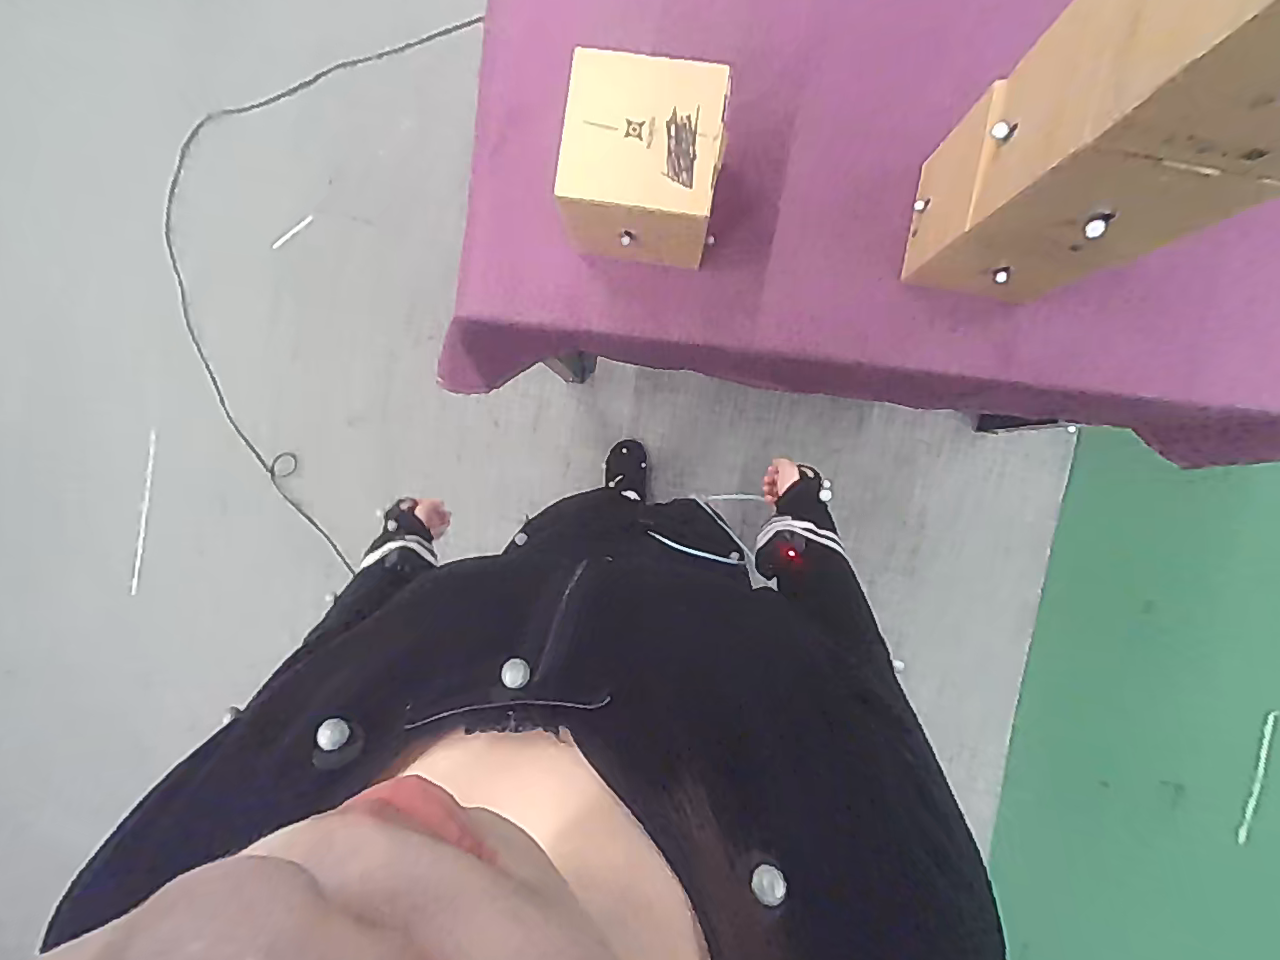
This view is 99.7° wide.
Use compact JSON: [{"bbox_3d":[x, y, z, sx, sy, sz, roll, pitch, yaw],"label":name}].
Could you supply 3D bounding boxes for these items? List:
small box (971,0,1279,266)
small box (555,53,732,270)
[{"bbox_3d":[0.443,-0.321,0.497,0.168,0.176,0.179,14,93,2],"label":"small box"},{"bbox_3d":[0.006,-0.379,0.675,0.179,0.176,0.168,9,92,2],"label":"small box"}]
